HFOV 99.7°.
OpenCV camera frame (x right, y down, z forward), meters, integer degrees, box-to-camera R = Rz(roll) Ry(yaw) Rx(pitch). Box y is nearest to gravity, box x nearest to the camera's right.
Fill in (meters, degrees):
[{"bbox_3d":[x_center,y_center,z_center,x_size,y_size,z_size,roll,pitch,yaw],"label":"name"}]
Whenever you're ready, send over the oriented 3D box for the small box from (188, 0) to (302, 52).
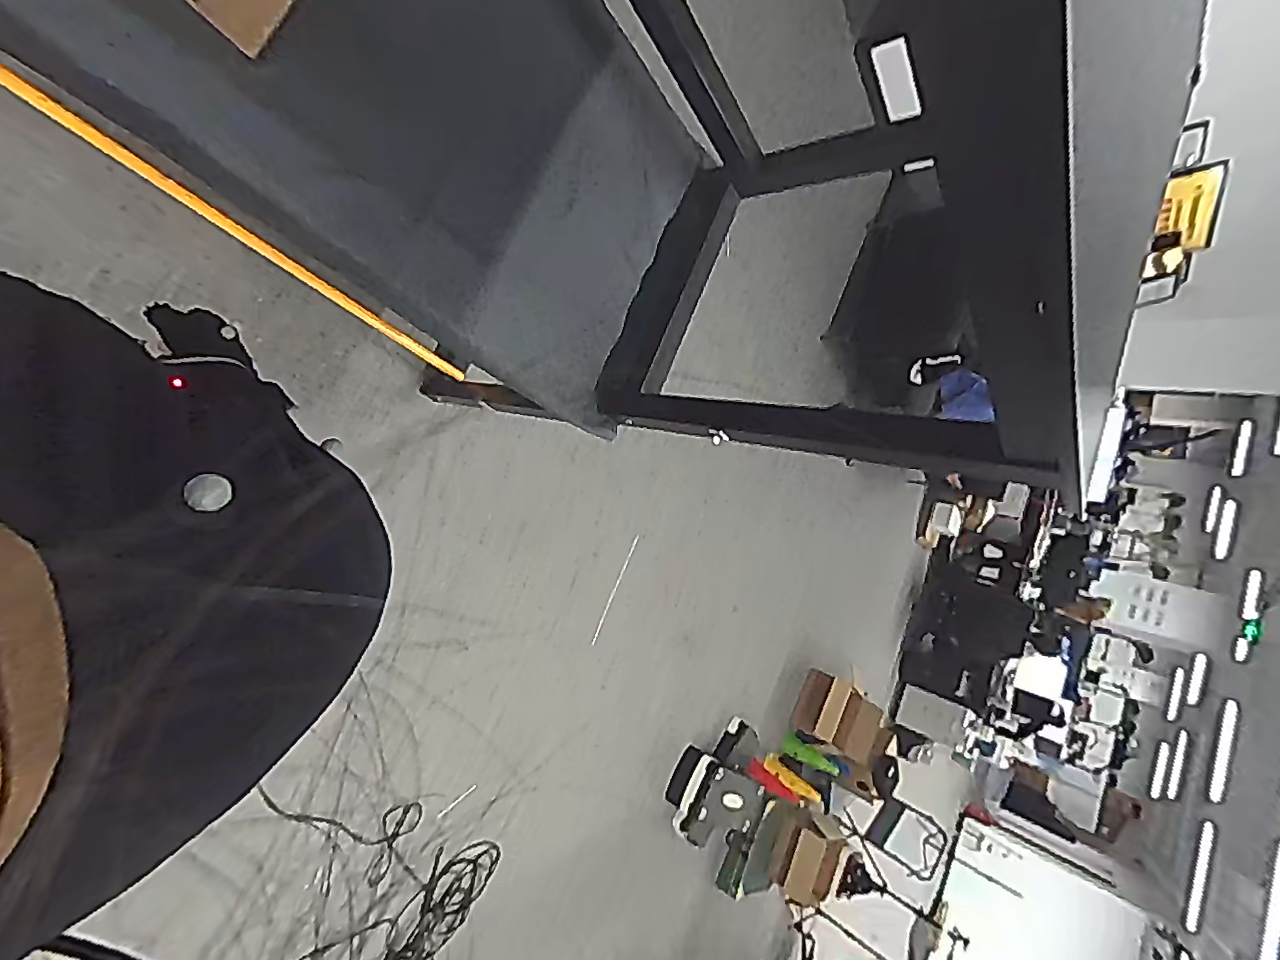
[{"bbox_3d":[-0.375,-0.556,0.495,0.168,0.176,0.179,34,75,-45],"label":"small box"}]
